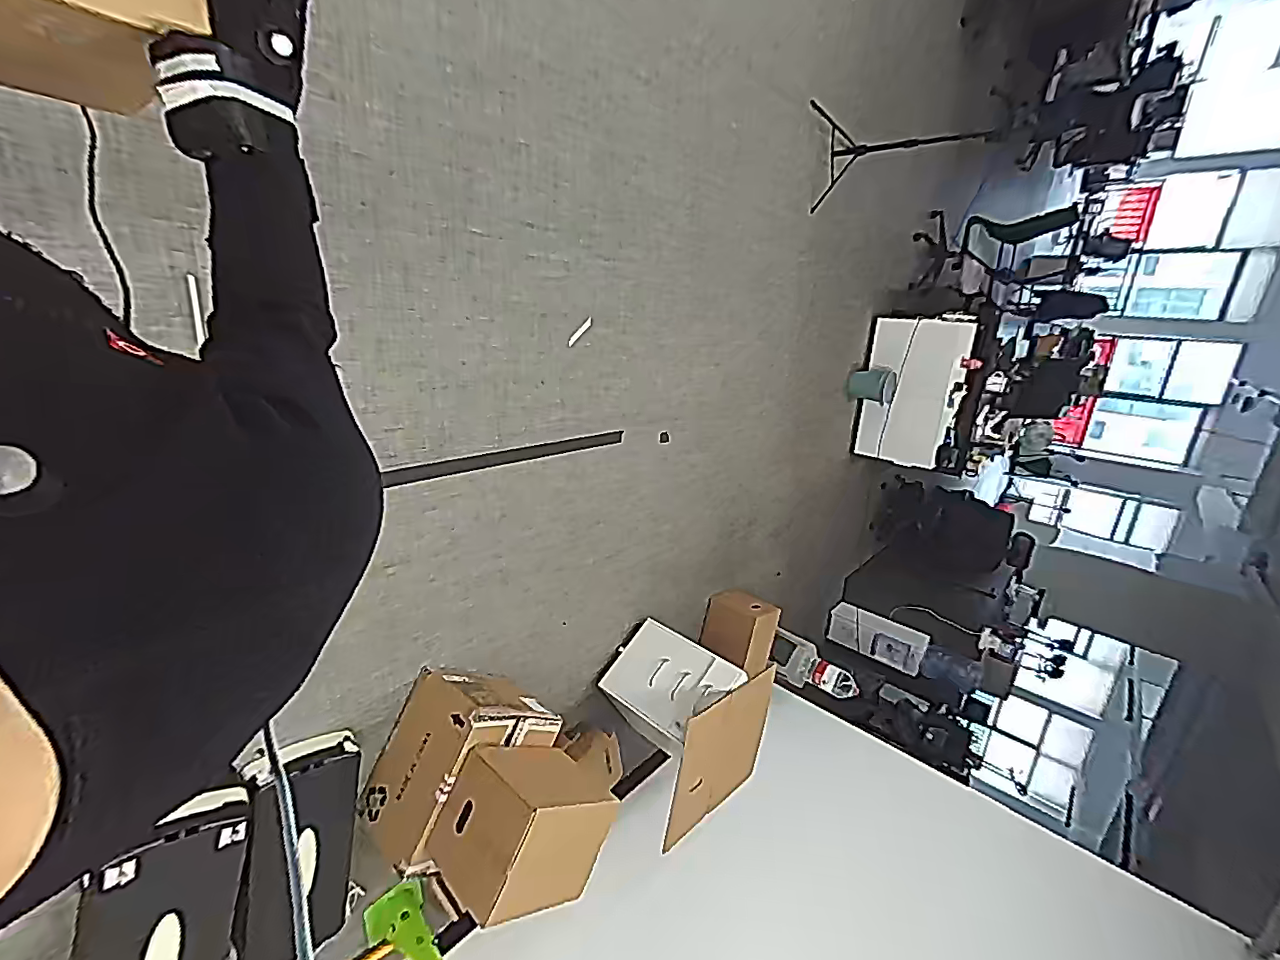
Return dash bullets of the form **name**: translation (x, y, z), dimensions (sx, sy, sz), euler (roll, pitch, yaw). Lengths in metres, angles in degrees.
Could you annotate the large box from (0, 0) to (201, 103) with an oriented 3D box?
- **large box**: translation (-0.539, -0.456, 0.280), dimensions (0.408, 0.320, 0.320), euler (-15, 117, -48)
